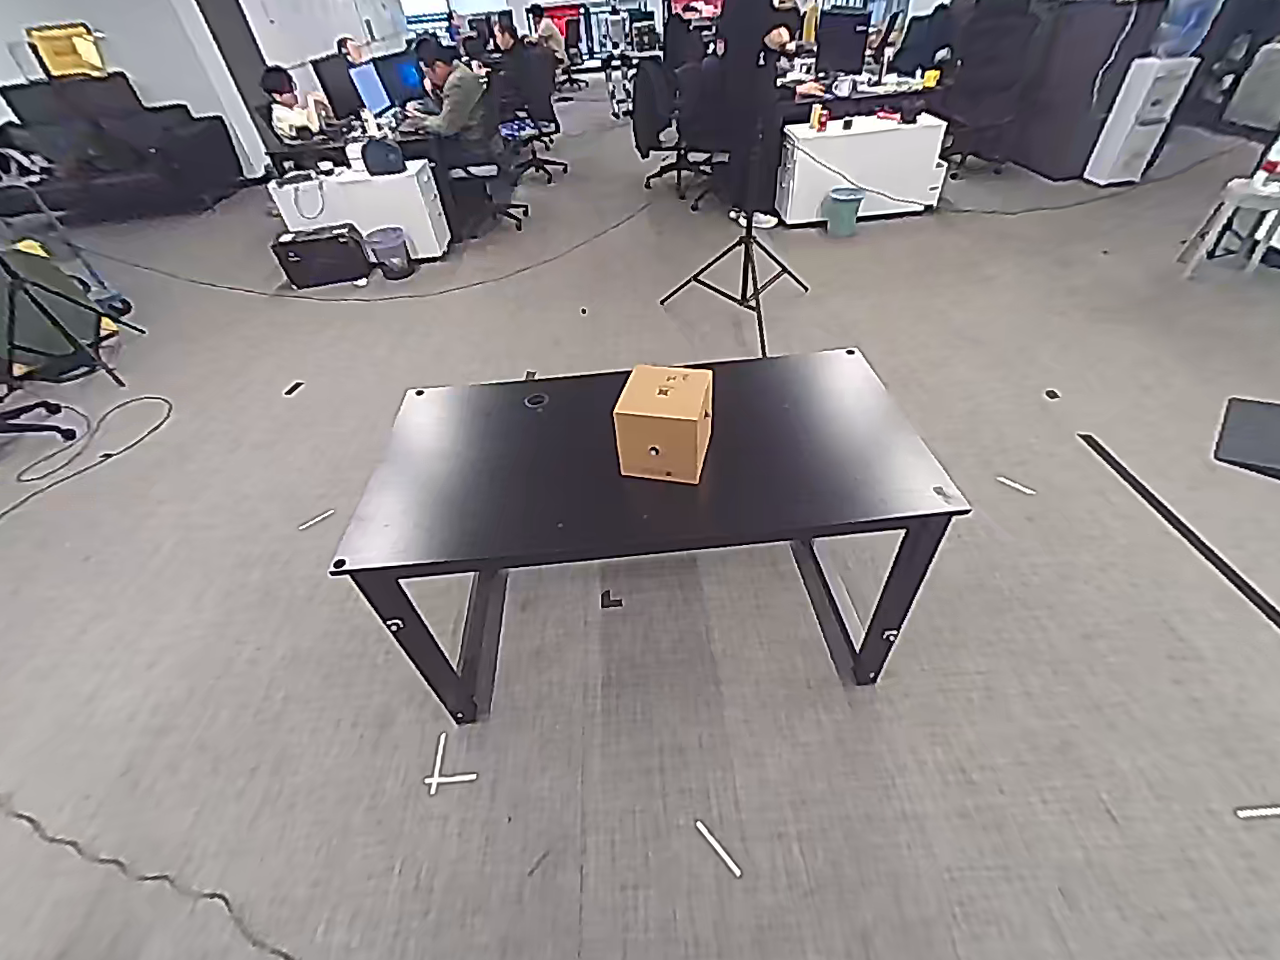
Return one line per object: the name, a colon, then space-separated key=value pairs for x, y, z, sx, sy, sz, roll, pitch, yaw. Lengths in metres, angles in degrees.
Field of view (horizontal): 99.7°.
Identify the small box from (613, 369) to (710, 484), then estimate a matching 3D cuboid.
small box: x=0.053 y=-0.112 z=1.143 sx=0.168 sy=0.176 sz=0.179 roll=7 pitch=44 yaw=13
